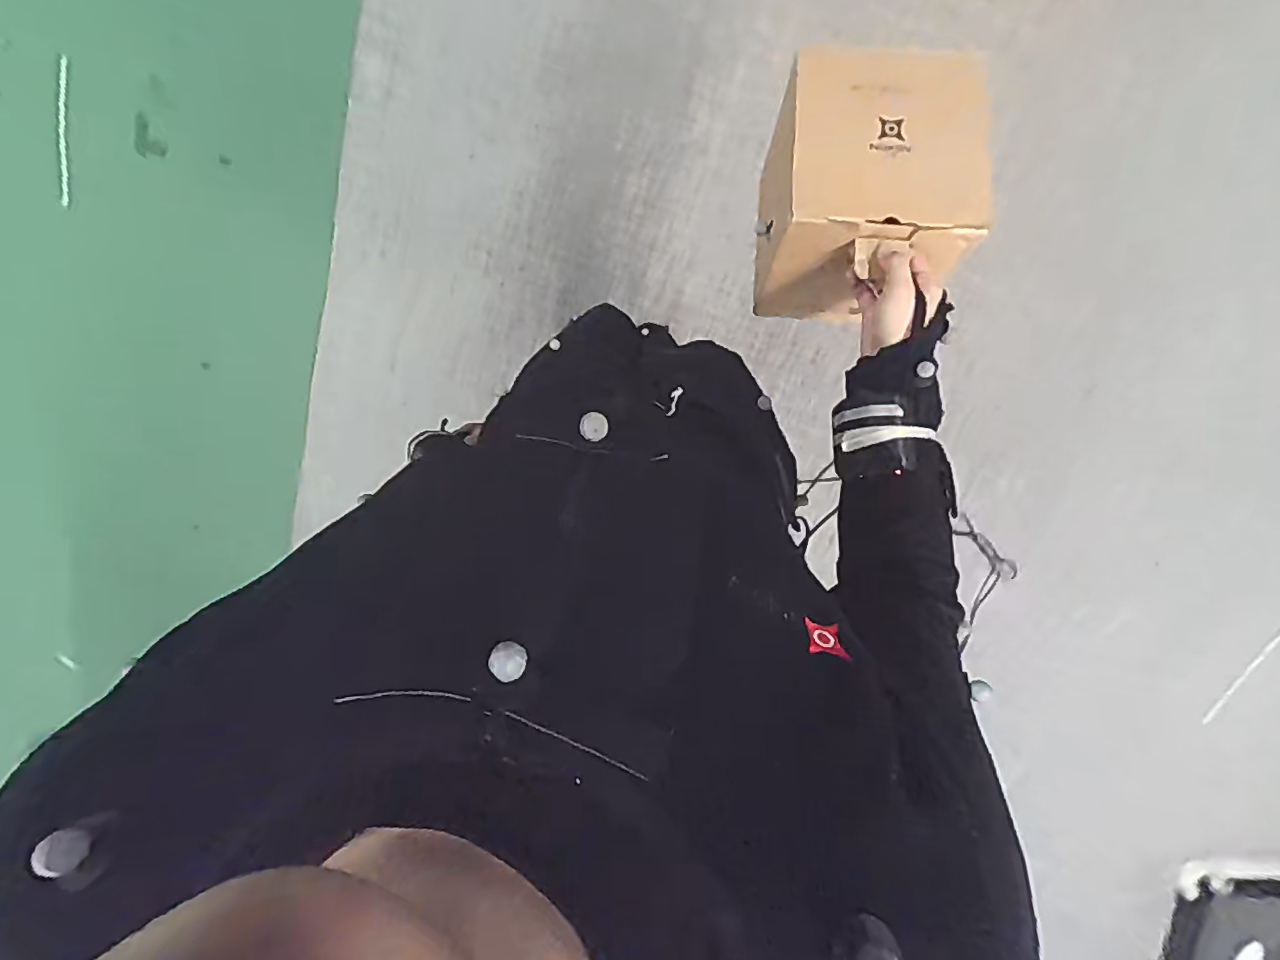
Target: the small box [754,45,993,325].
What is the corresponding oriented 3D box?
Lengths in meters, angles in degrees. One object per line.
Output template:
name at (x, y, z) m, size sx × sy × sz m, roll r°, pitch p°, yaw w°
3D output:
small box at (0.212, -0.271, 0.530) m, size 0.168 × 0.176 × 0.179 m, roll 5°, pitch 79°, yaw 1°
